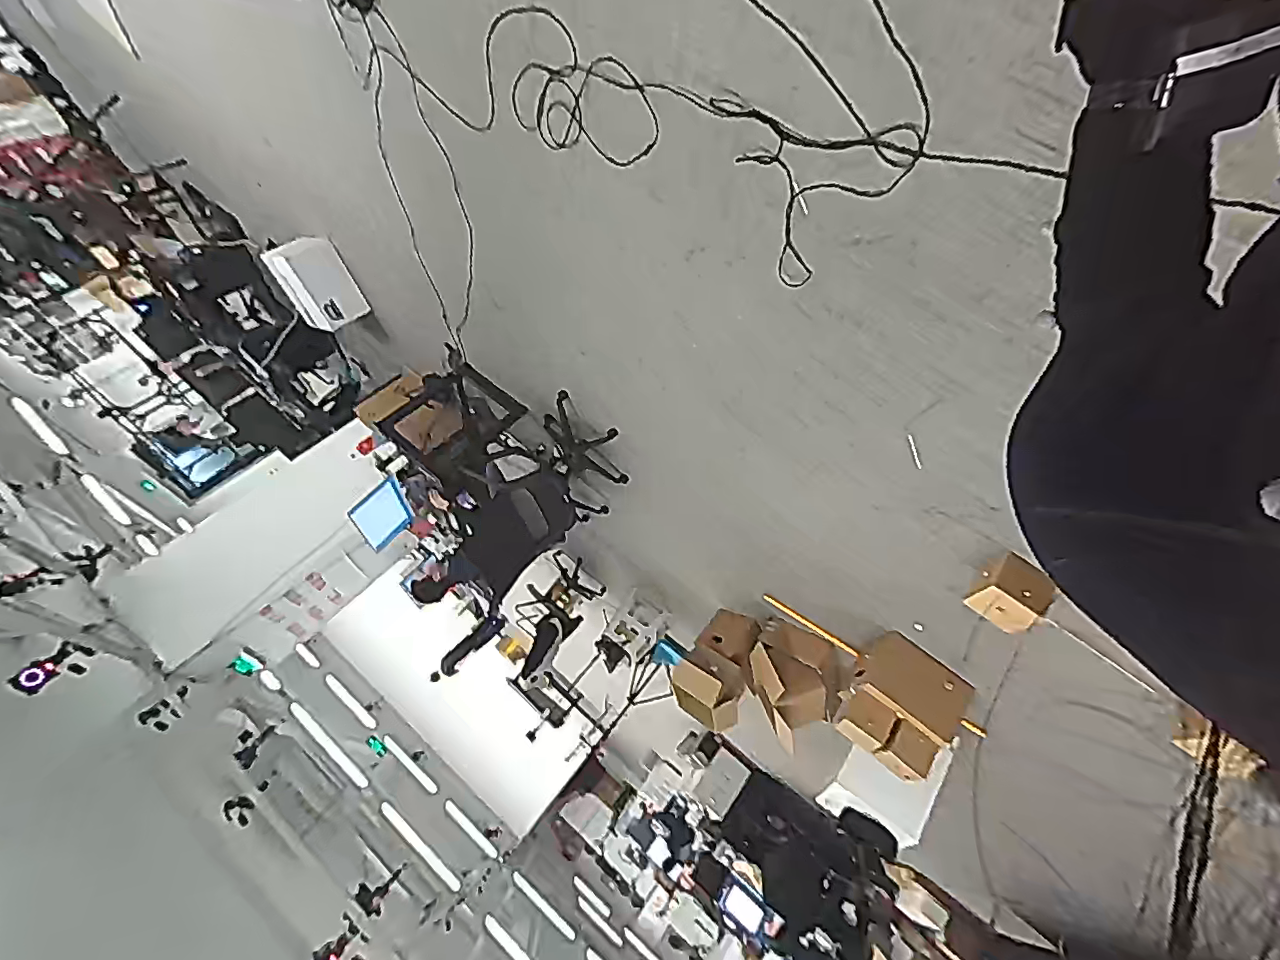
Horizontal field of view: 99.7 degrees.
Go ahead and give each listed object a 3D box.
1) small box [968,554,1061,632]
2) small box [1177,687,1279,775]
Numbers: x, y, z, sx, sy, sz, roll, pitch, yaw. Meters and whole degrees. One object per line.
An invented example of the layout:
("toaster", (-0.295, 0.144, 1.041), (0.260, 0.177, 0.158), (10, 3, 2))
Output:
("small box", (1.255, 0.370, 1.810), (0.179, 0.176, 0.168), (36, 151, 14))
("small box", (1.792, 0.754, 1.624), (0.168, 0.176, 0.179), (36, 152, 14))
